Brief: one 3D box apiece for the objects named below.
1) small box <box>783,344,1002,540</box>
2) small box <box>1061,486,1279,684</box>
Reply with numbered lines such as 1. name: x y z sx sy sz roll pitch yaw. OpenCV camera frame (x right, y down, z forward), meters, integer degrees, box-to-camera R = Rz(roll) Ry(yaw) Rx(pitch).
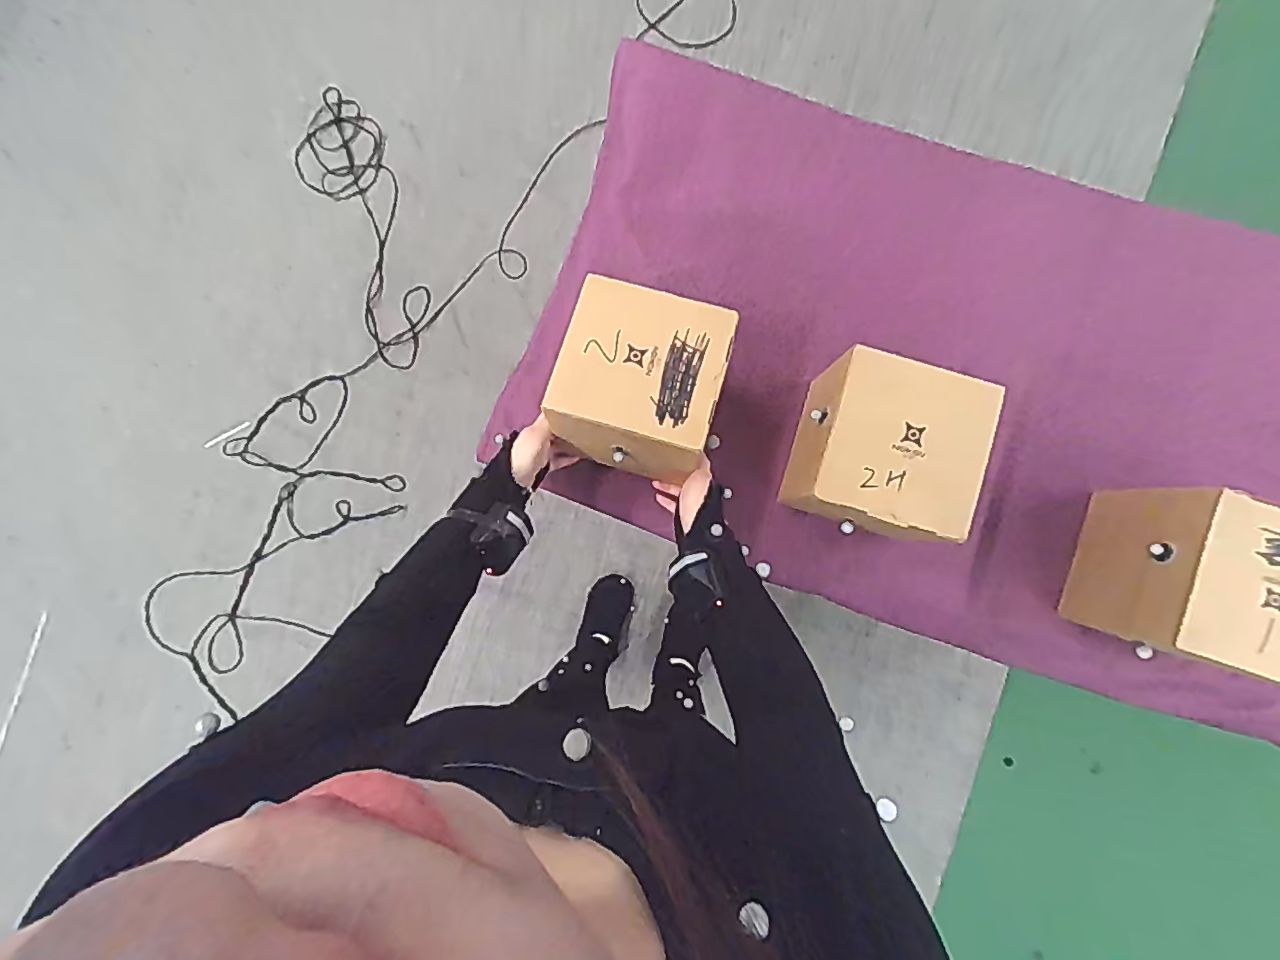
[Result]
1. small box: 0.286 -0.036 0.652 0.168 0.176 0.179 17 86 3
2. small box: 0.650 0.117 0.637 0.168 0.176 0.179 19 88 3
